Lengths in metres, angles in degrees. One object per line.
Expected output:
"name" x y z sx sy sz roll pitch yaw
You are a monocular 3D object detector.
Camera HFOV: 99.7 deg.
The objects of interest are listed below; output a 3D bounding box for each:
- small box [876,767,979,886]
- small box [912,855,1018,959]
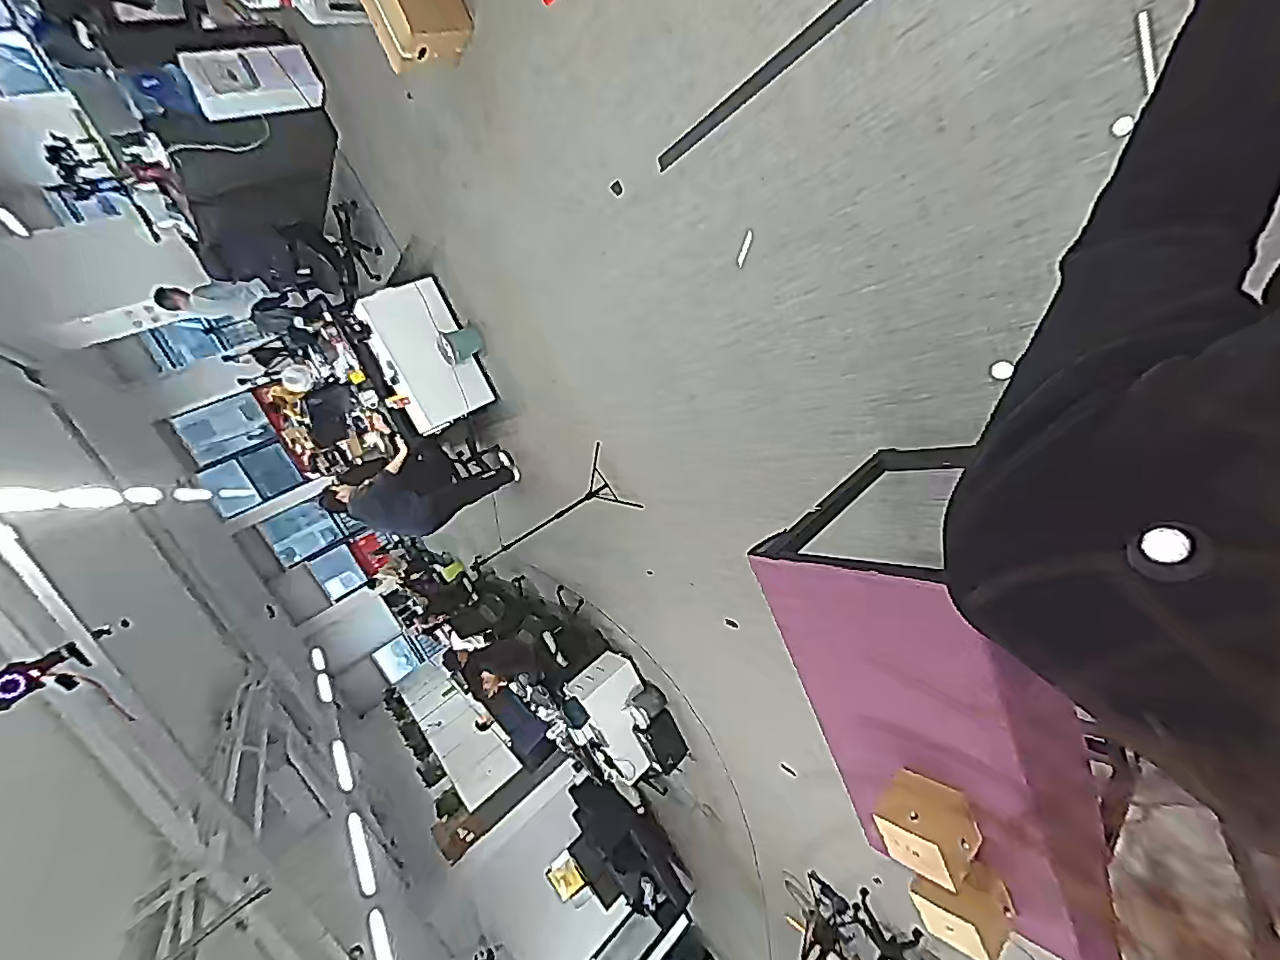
"small box" 0.767 0.904 1.432 0.179 0.176 0.168 -4 115 57
"small box" 0.892 1.144 1.484 0.179 0.176 0.168 -8 113 58
